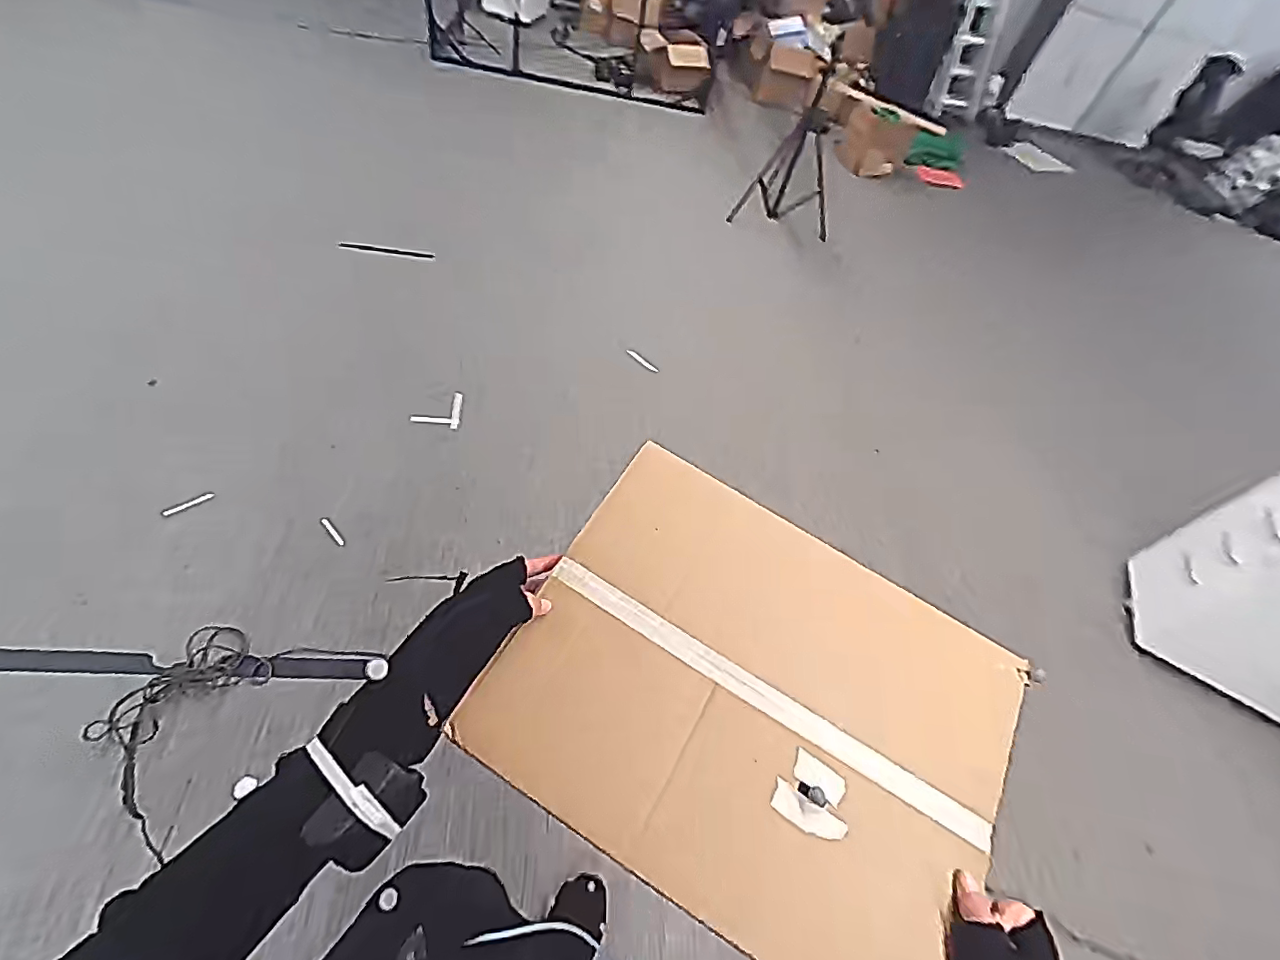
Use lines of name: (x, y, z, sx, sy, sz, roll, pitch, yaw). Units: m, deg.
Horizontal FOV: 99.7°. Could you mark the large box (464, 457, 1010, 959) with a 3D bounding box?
large box: (0.083, 0.248, 0.597, 0.408, 0.320, 0.320, 31, 65, 7)
